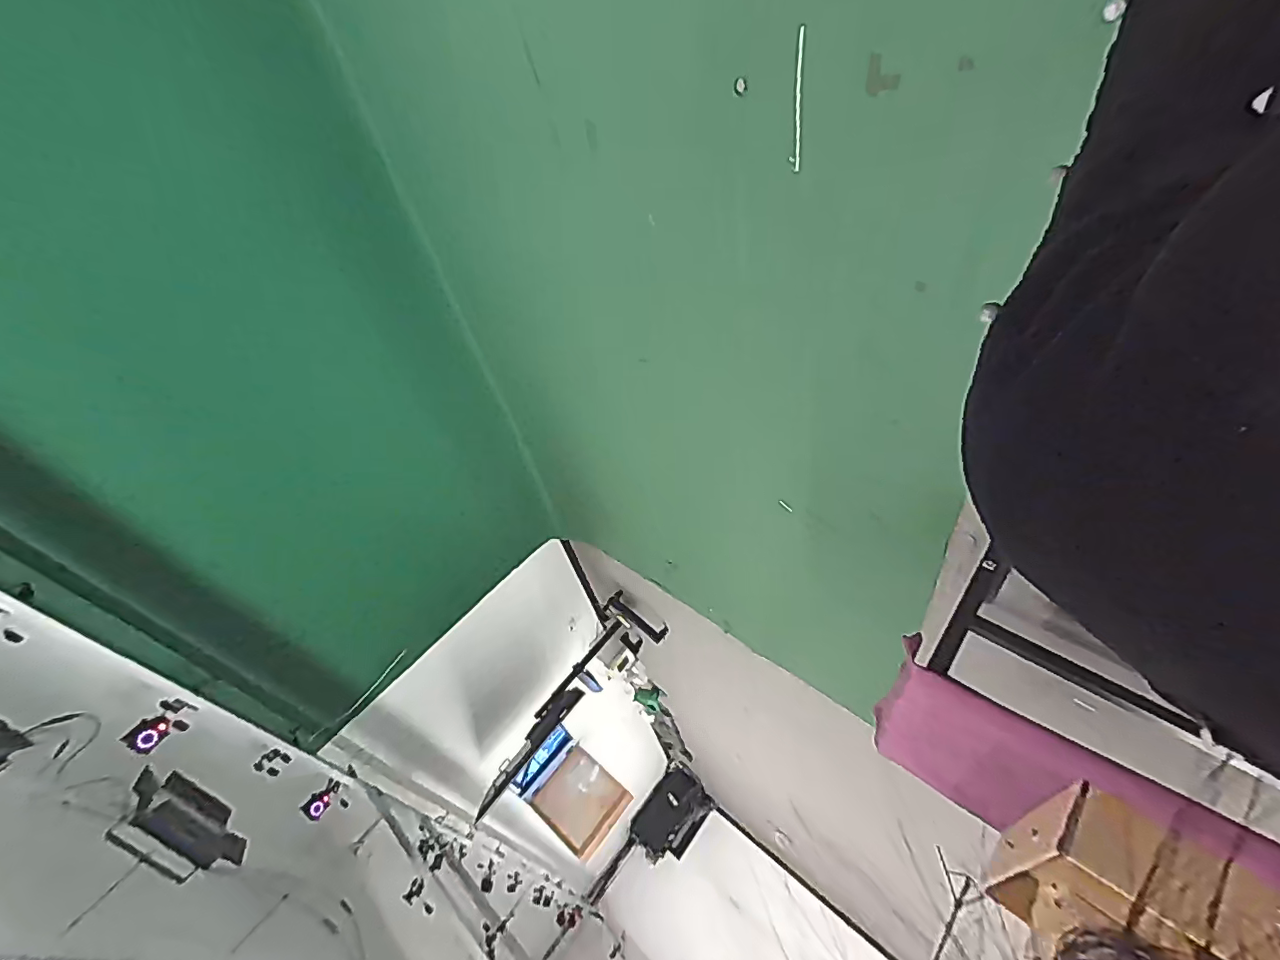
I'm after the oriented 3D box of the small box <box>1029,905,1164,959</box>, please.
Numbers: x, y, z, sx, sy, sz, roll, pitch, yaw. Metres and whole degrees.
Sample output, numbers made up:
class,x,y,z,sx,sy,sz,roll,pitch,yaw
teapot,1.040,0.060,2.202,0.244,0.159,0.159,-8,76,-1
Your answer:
class,x,y,z,sx,sy,sz,roll,pitch,yaw
small box,0.923,1.004,1.097,0.179,0.176,0.168,26,149,30
